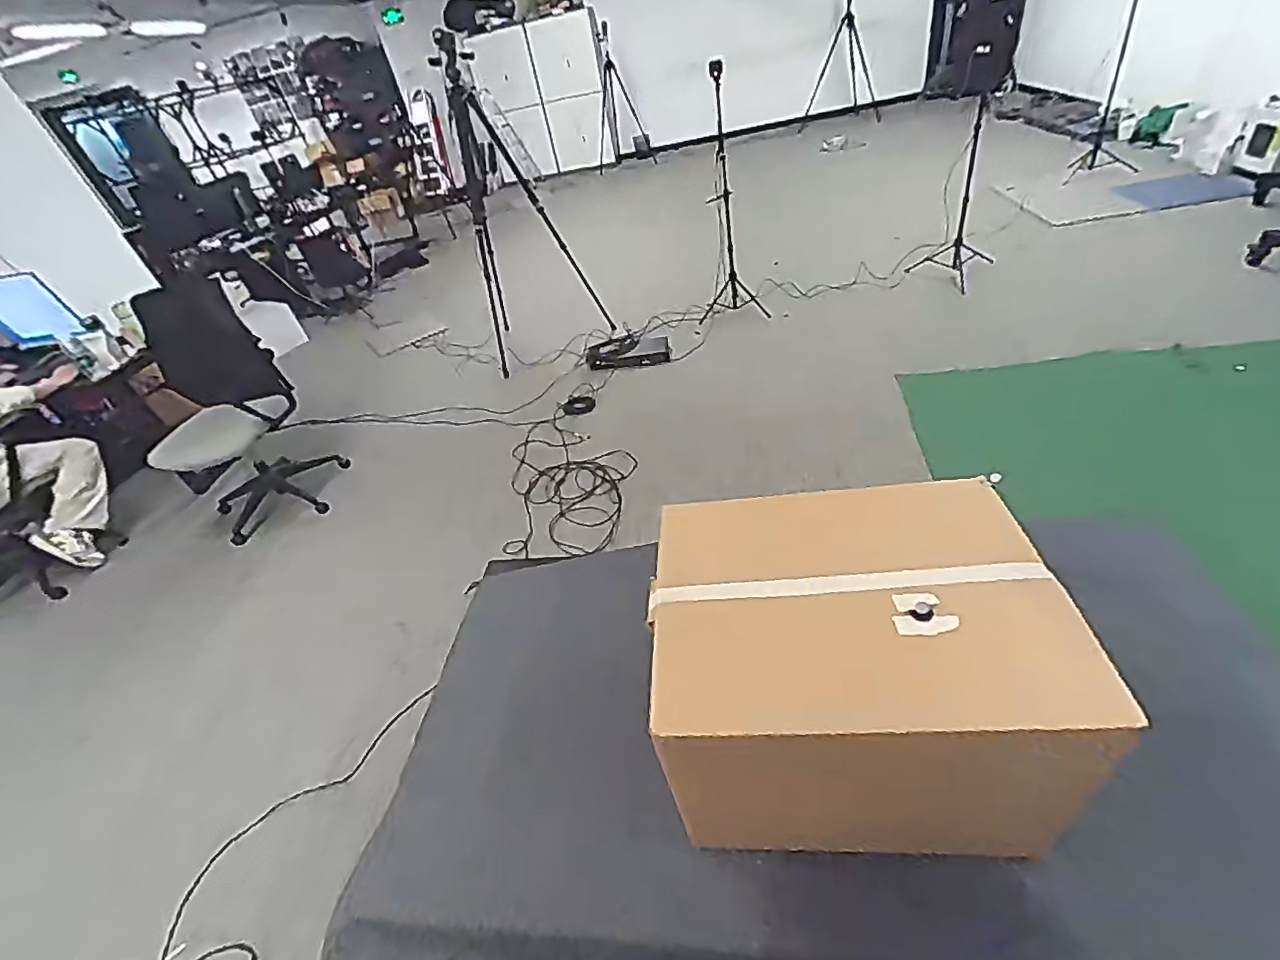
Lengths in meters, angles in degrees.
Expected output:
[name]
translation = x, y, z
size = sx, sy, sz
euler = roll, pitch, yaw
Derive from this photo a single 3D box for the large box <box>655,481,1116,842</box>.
[large box]
translation = 0.241, 0.233, 0.688
size = 0.408, 0.320, 0.320
euler = -6, 40, 10
